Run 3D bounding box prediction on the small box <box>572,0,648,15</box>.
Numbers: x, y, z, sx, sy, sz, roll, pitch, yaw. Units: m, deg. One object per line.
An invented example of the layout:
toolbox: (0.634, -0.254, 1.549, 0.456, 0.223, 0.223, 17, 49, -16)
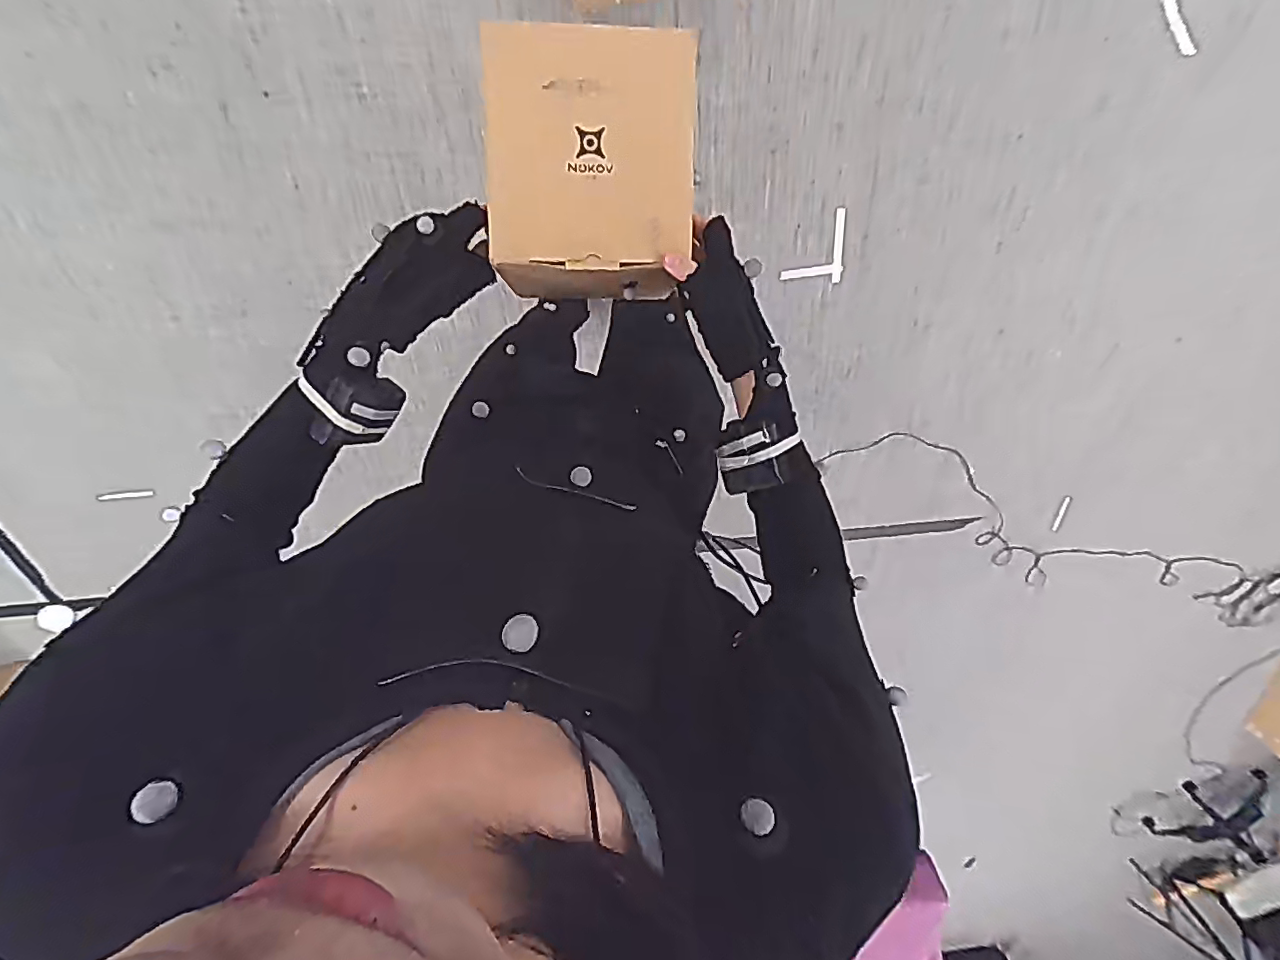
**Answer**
small box: (-0.050, -0.962, 0.959, 0.179, 0.176, 0.168, -11, 121, 2)
